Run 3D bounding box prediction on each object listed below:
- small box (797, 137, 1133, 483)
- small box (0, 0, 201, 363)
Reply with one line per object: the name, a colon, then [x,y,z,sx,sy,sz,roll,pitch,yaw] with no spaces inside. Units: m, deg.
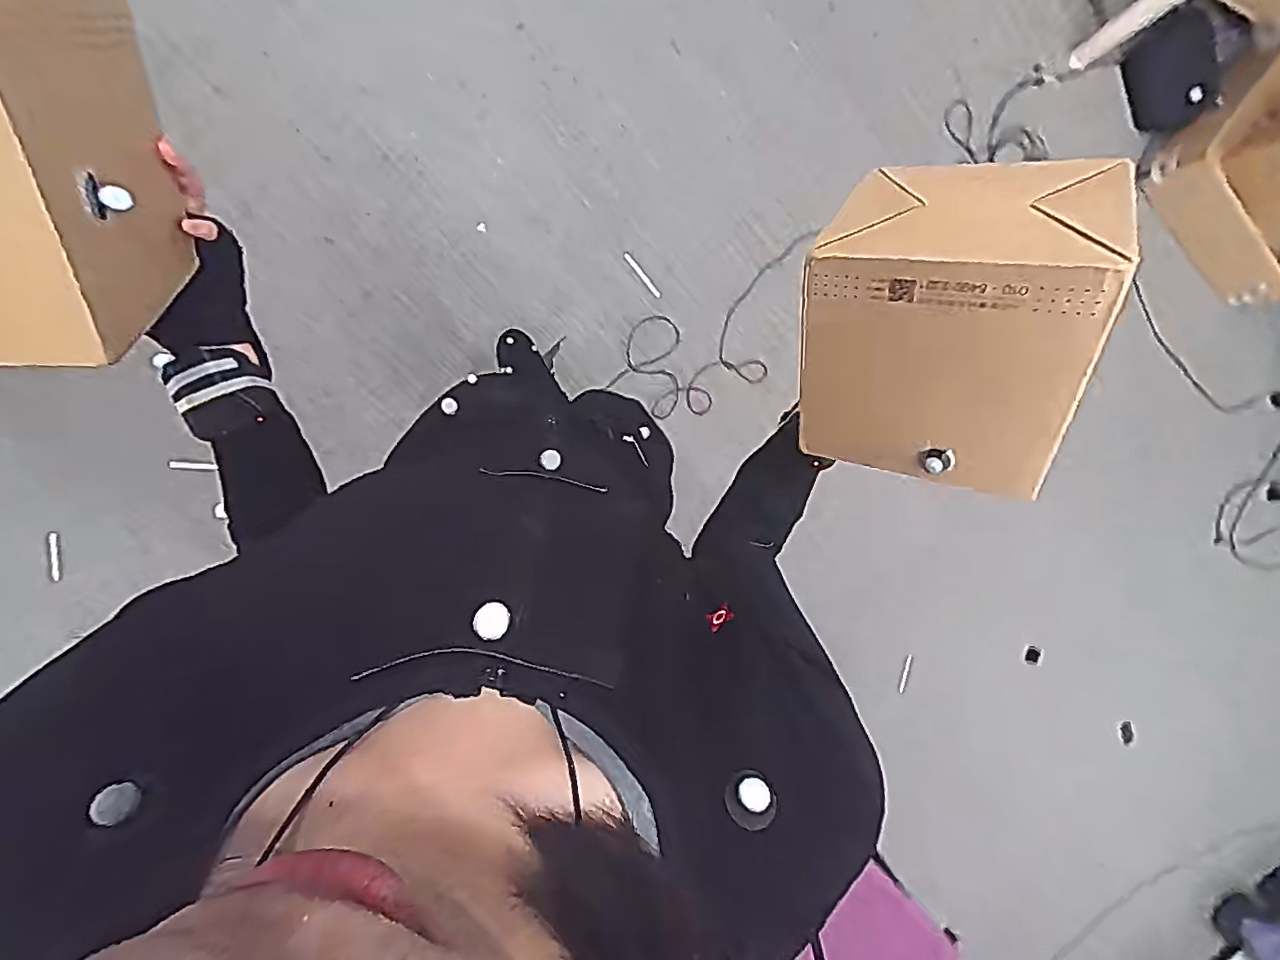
small box: [0.224,-0.130,0.395,0.179,0.168,0.176,-53,144,-34]
small box: [-0.366,-0.176,0.273,0.168,0.179,0.176,-1,129,-21]
